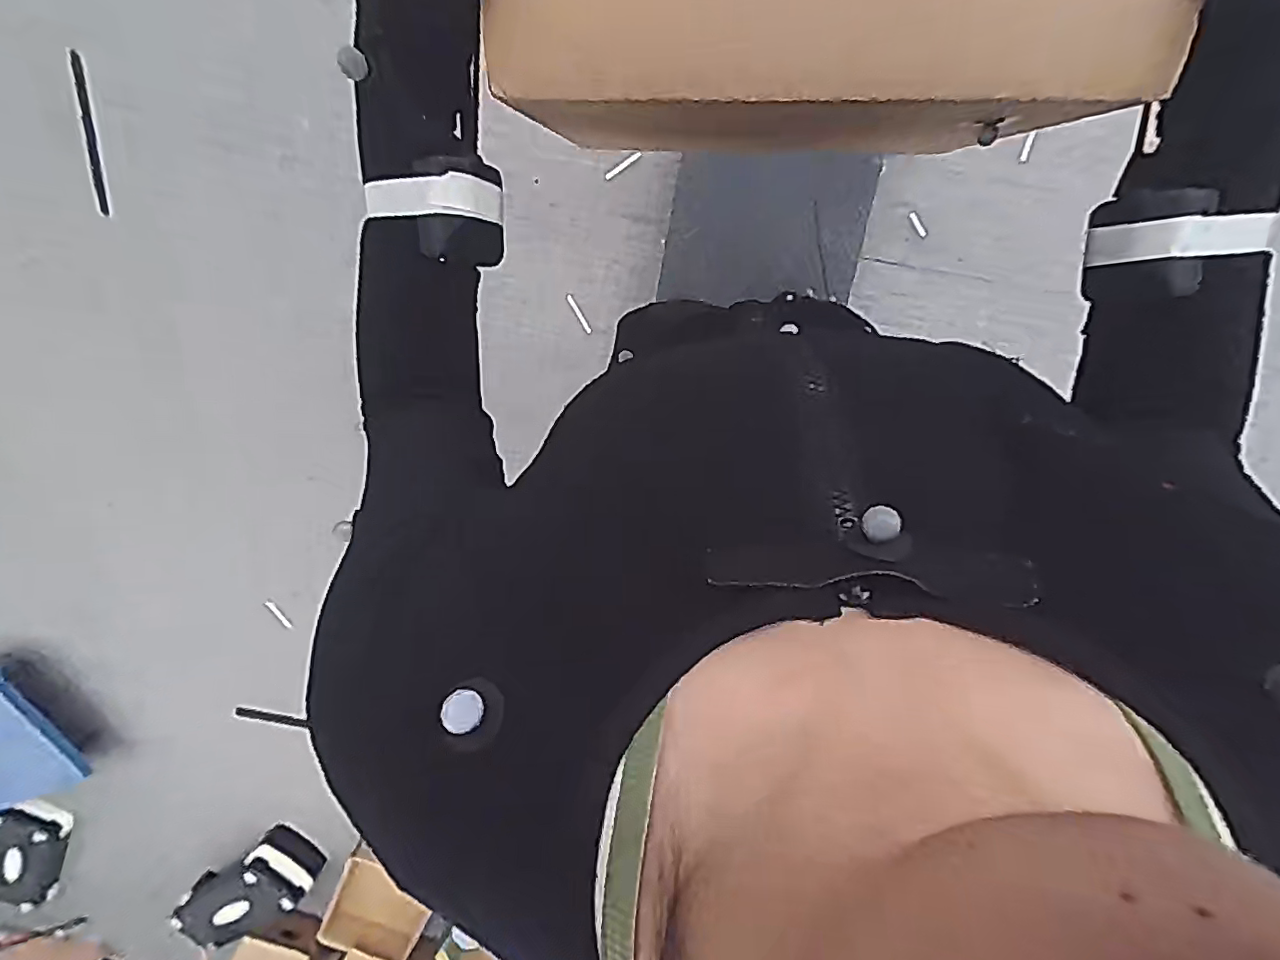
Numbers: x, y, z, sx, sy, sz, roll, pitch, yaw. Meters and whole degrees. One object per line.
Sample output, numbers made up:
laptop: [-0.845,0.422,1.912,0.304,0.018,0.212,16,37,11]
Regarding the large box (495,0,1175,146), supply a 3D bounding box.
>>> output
large box: [0.122,-0.441,0.404,0.408,0.320,0.320,3,116,3]
